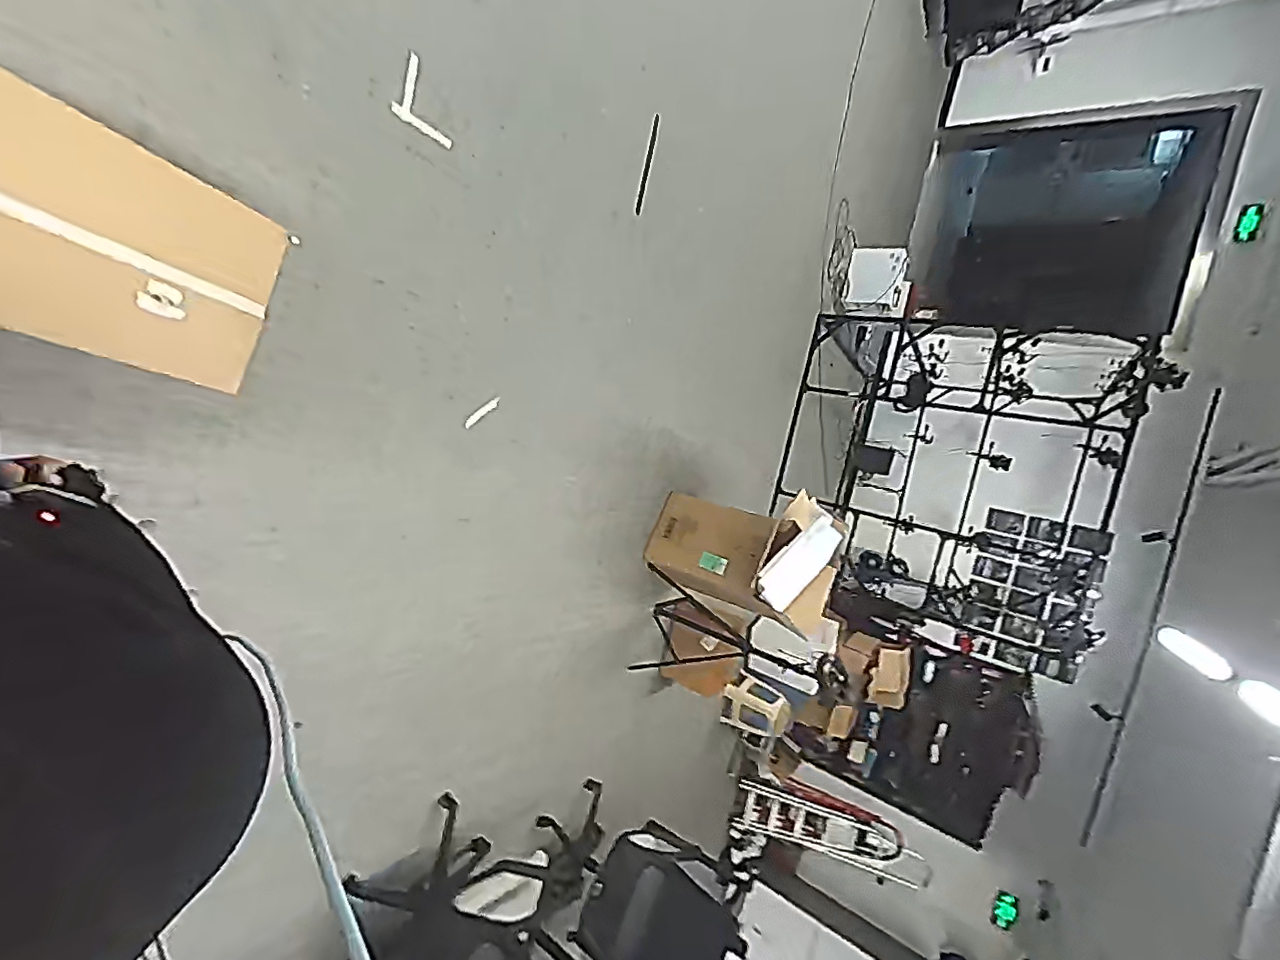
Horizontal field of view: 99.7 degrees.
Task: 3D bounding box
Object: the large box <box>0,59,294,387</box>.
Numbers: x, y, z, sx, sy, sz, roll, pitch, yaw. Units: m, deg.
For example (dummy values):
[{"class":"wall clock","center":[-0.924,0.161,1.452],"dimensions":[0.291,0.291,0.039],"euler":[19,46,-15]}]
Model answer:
[{"class":"large box","center":[-0.874,-0.372,0.857],"dimensions":[0.408,0.320,0.320],"euler":[22,85,-59]}]
